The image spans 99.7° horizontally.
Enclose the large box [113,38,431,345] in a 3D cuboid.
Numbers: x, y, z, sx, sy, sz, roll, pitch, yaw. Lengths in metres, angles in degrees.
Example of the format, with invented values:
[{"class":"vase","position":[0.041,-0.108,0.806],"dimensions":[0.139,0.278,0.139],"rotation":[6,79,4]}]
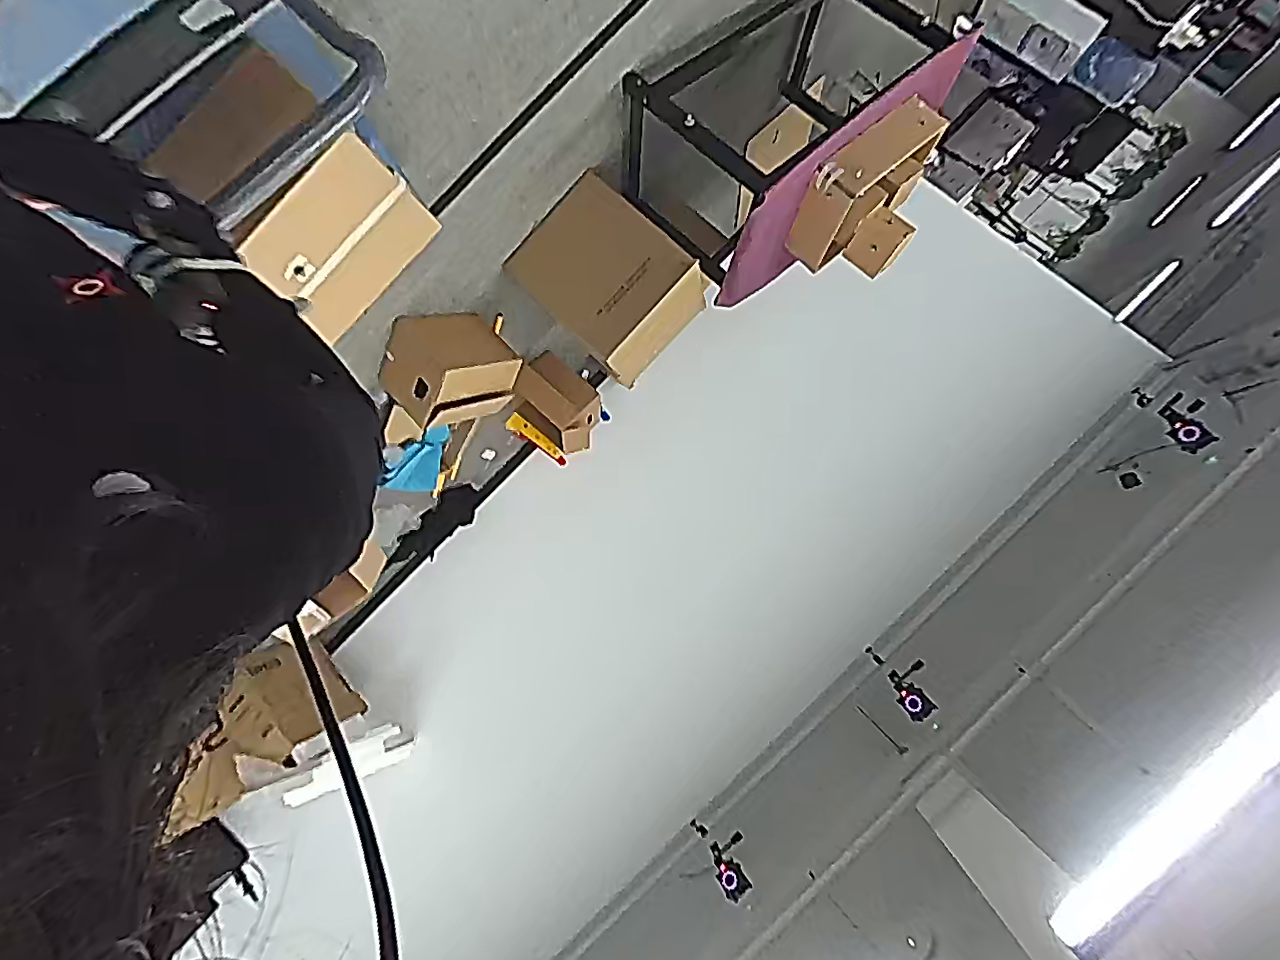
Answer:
[{"class":"large box","position":[-0.743,-0.574,1.133],"dimensions":[0.408,0.320,0.320],"rotation":[-44,168,3]}]
